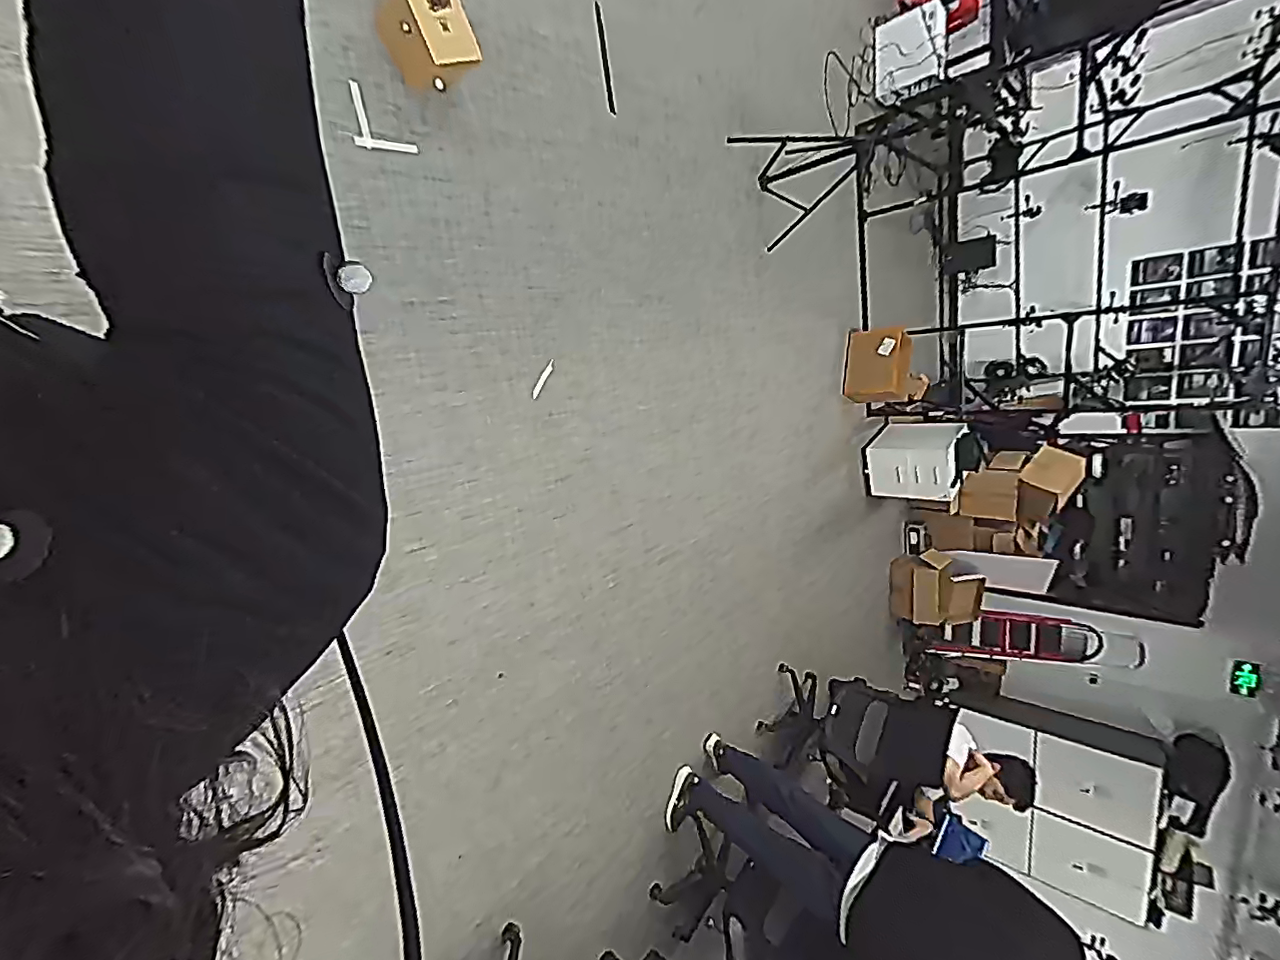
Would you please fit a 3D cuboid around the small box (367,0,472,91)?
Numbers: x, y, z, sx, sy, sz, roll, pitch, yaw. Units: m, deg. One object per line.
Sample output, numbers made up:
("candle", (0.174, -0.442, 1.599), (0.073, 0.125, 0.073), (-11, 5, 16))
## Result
("small box", (-0.599, -1.194, 1.464), (0.168, 0.176, 0.179), (-43, 124, -37))
